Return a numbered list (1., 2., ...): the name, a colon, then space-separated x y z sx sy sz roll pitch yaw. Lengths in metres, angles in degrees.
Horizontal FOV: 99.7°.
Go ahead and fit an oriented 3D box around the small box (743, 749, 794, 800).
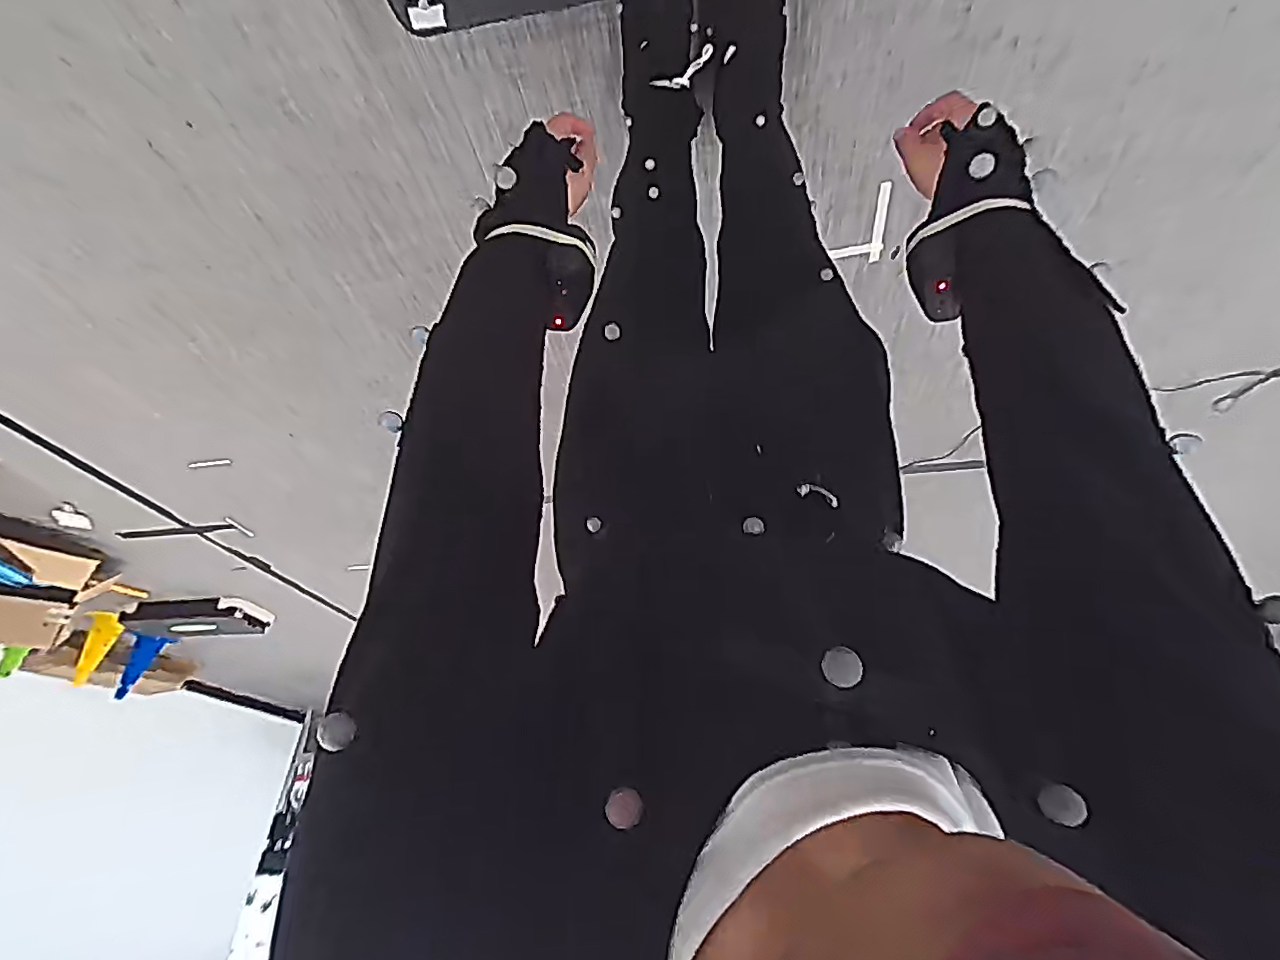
1. small box: 0.510 1.183 2.168 0.179 0.176 0.168 -5 146 7
